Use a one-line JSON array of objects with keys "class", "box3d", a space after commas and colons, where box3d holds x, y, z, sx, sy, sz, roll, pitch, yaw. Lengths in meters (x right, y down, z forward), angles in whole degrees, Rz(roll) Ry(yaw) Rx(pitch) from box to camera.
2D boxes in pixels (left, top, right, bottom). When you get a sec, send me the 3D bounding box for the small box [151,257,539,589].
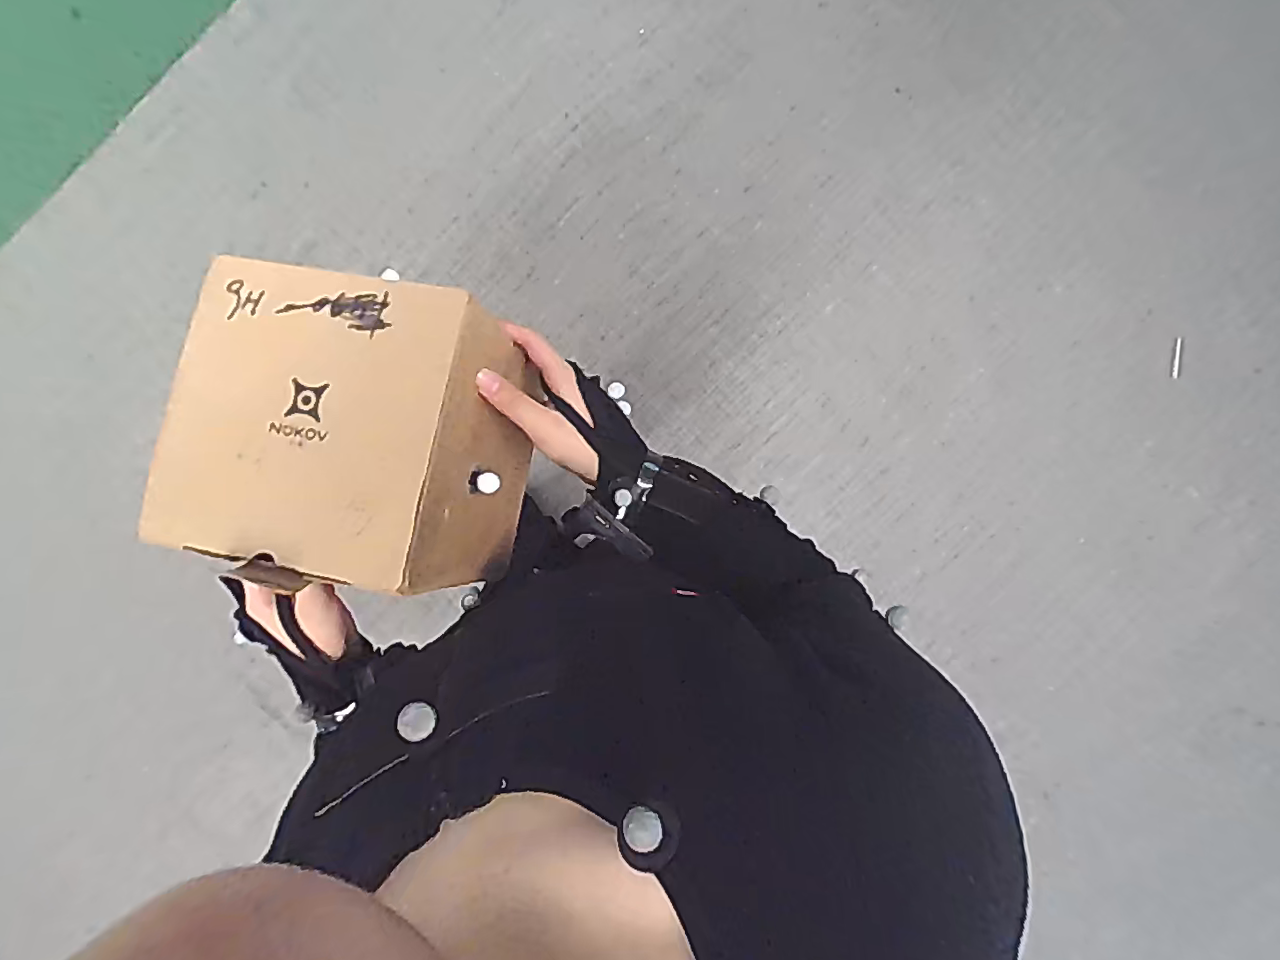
[{"class": "small box", "box3d": [-0.184, -0.031, 0.393, 0.168, 0.176, 0.179, 10, 85, 6]}]
